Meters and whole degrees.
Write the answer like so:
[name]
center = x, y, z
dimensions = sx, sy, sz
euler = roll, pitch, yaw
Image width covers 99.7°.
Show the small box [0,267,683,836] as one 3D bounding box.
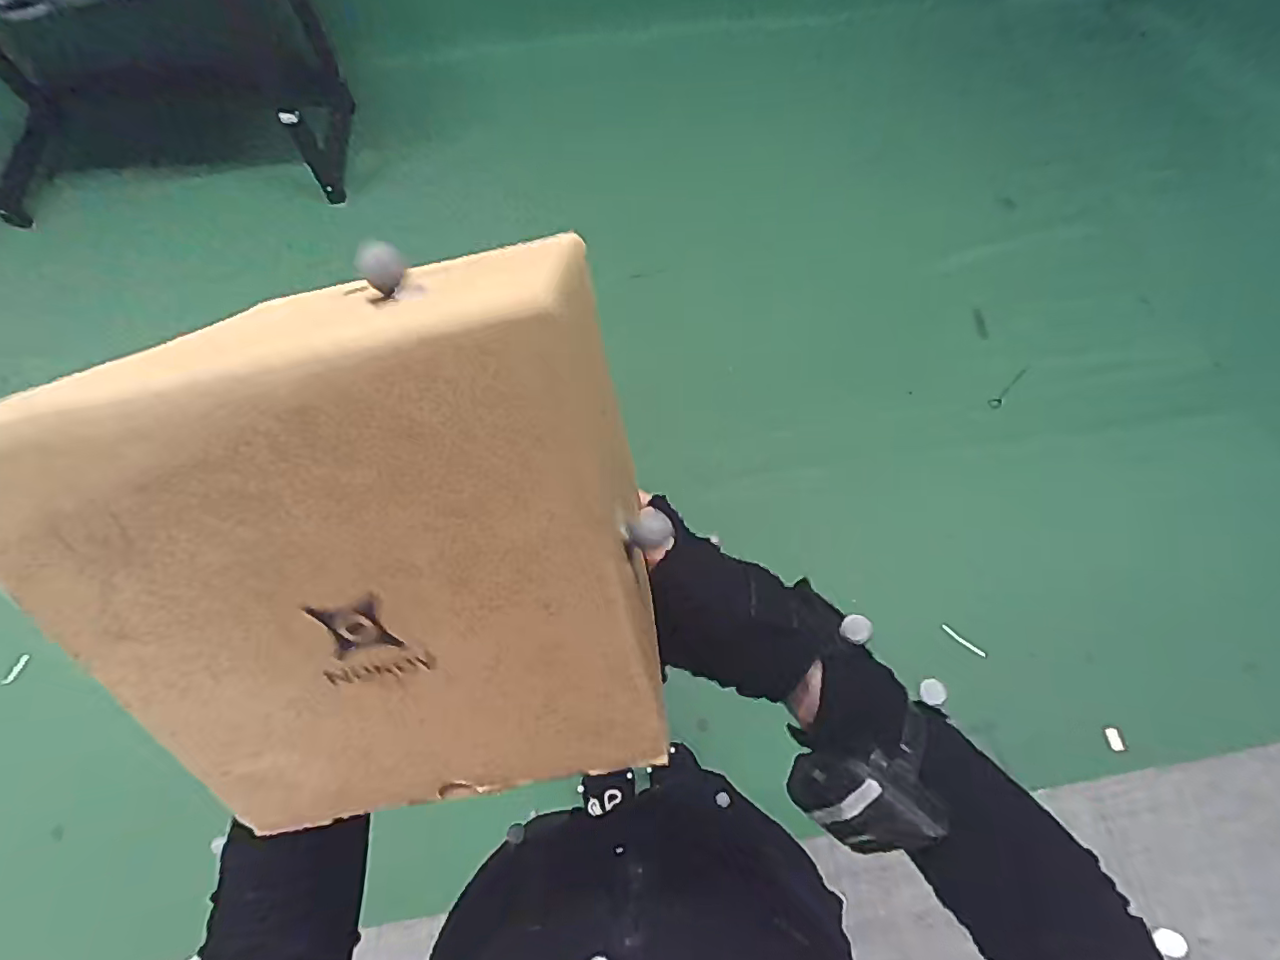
[small box]
center = -0.082, 0.014, 0.240
dimensions = 0.168, 0.179, 0.176
euler = -10, 31, 1
